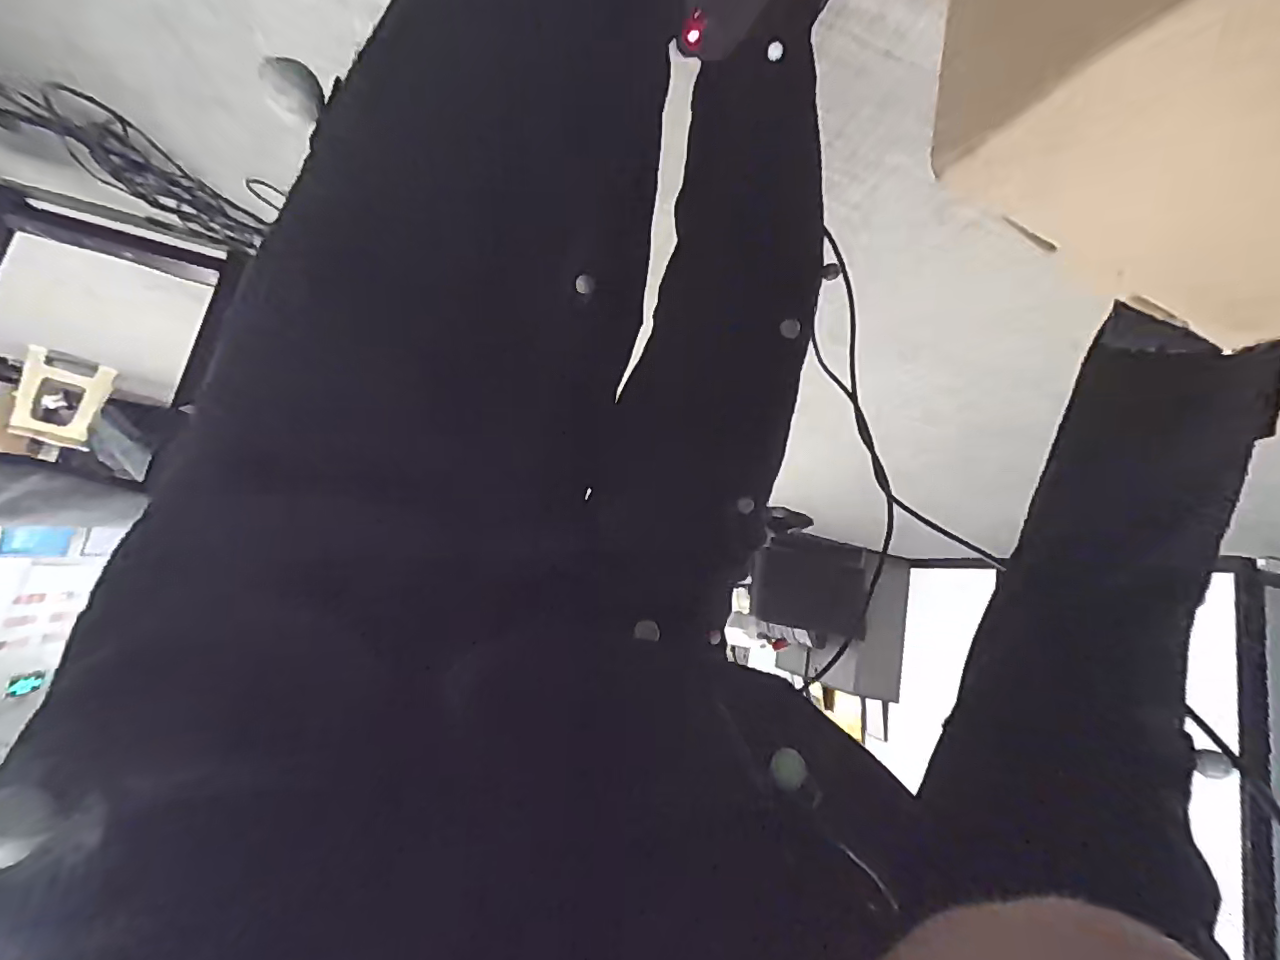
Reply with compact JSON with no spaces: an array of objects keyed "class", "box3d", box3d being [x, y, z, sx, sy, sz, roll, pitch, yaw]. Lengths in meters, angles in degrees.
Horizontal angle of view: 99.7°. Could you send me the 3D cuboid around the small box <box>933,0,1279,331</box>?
[{"class":"small box","box3d":[0.207,-0.168,0.126,0.168,0.176,0.179,15,167,-18]}]
